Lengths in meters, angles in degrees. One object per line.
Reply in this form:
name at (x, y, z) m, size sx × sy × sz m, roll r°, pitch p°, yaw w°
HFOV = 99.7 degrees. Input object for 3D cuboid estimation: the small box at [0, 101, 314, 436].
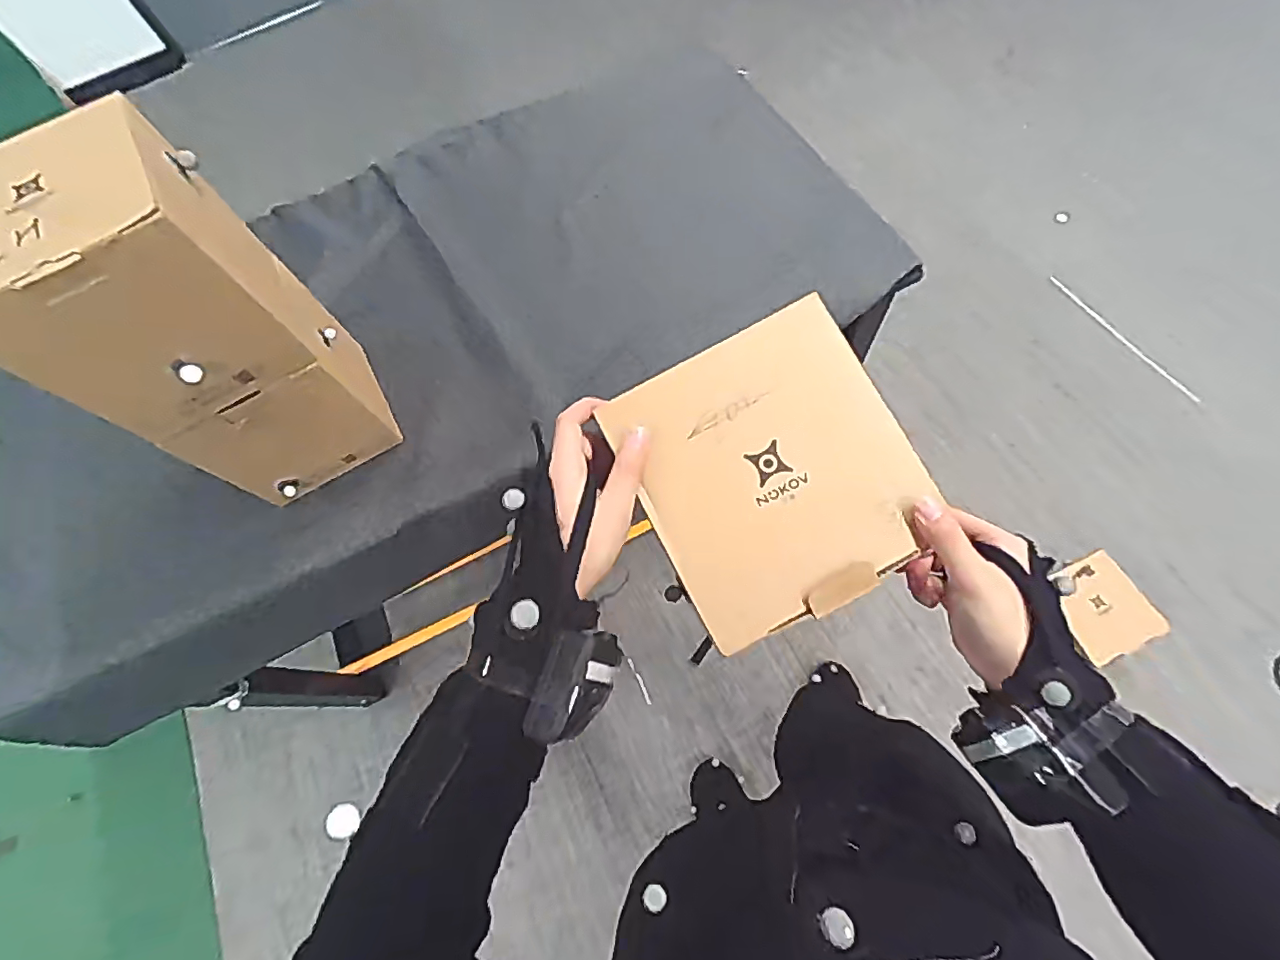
small box at (-0.429, -0.171, 0.469) m, size 0.168 × 0.176 × 0.179 m, roll -32°, pitch 67°, yaw -7°

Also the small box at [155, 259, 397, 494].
small box at (-0.411, -0.104, 0.618) m, size 0.168 × 0.176 × 0.179 m, roll -30°, pitch 66°, yaw -7°

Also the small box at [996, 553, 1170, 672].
small box at (0.884, 0.275, 1.100) m, size 0.168 × 0.176 × 0.179 m, roll -24°, pitch 68°, yaw -4°
